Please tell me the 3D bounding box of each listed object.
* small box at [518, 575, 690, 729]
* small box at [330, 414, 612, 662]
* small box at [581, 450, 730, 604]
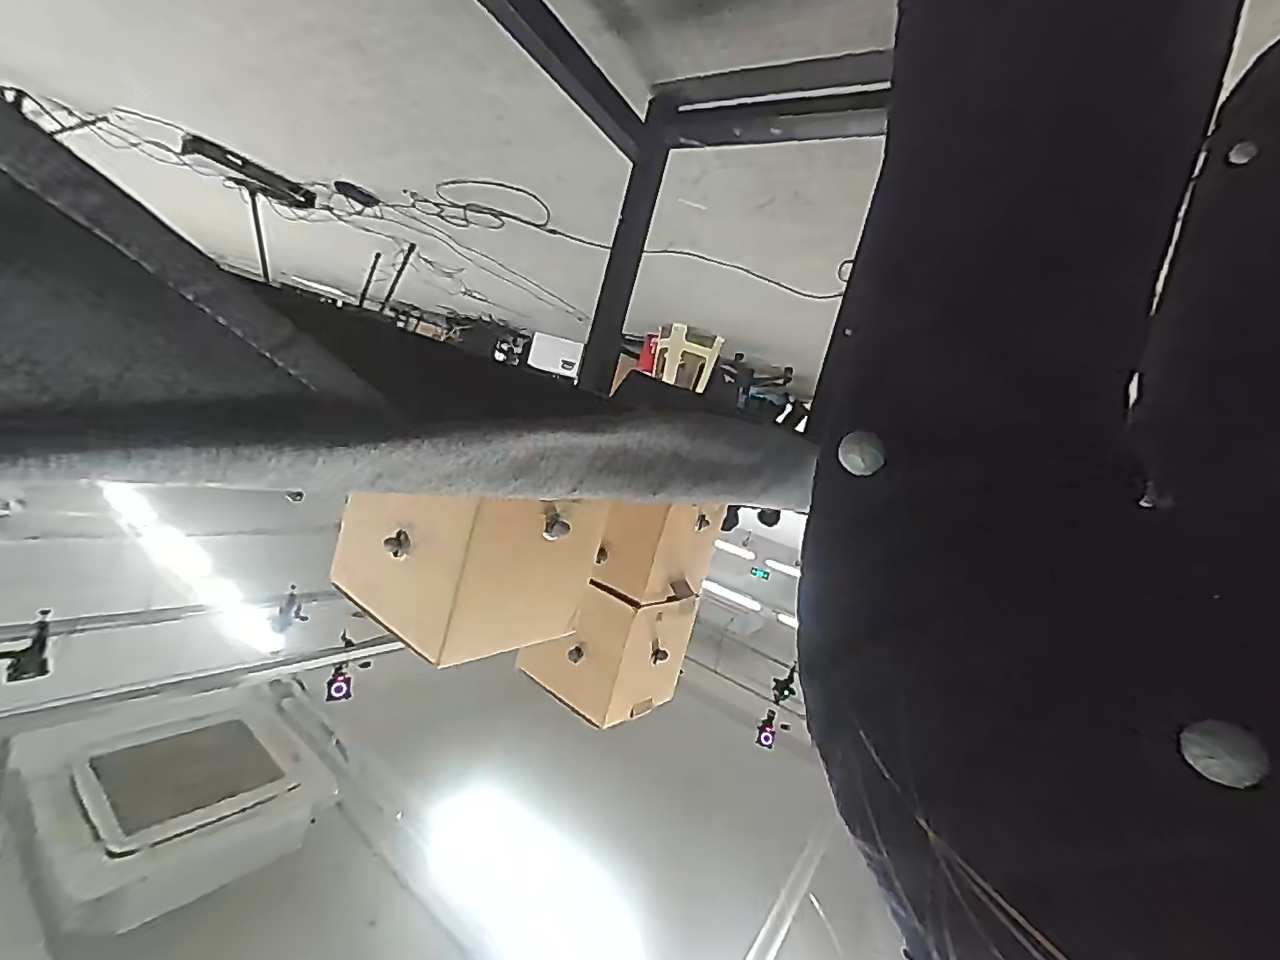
[{"bbox_3d":[-0.044,0.215,0.775,0.179,0.176,0.168,18,-175,36],"label":"small box"},{"bbox_3d":[-0.153,0.041,0.511,0.179,0.176,0.168,19,-174,33],"label":"small box"},{"bbox_3d":[0.002,0.058,0.767,0.179,0.176,0.168,19,-175,35],"label":"small box"}]
